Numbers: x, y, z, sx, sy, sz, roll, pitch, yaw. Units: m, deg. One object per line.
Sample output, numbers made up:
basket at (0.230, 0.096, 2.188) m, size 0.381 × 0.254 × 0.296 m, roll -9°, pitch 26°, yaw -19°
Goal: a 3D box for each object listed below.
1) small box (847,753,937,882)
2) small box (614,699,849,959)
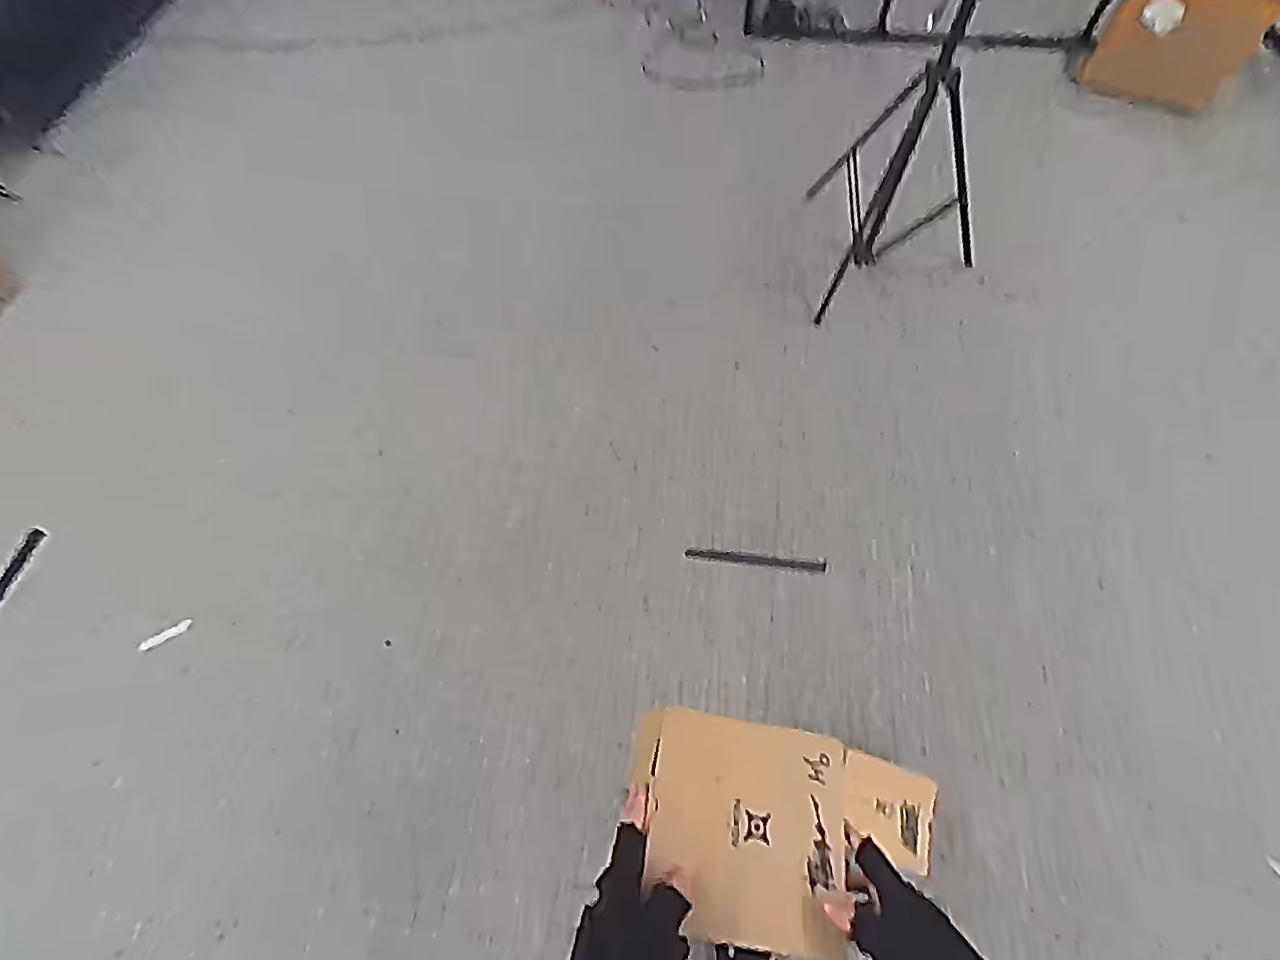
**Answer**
small box at (0.465, 0.666, 1.094) m, size 0.179 × 0.176 × 0.168 m, roll 18°, pitch 66°, yaw 11°
small box at (0.078, 0.323, 0.518) m, size 0.179 × 0.176 × 0.168 m, roll 13°, pitch 61°, yaw -3°
